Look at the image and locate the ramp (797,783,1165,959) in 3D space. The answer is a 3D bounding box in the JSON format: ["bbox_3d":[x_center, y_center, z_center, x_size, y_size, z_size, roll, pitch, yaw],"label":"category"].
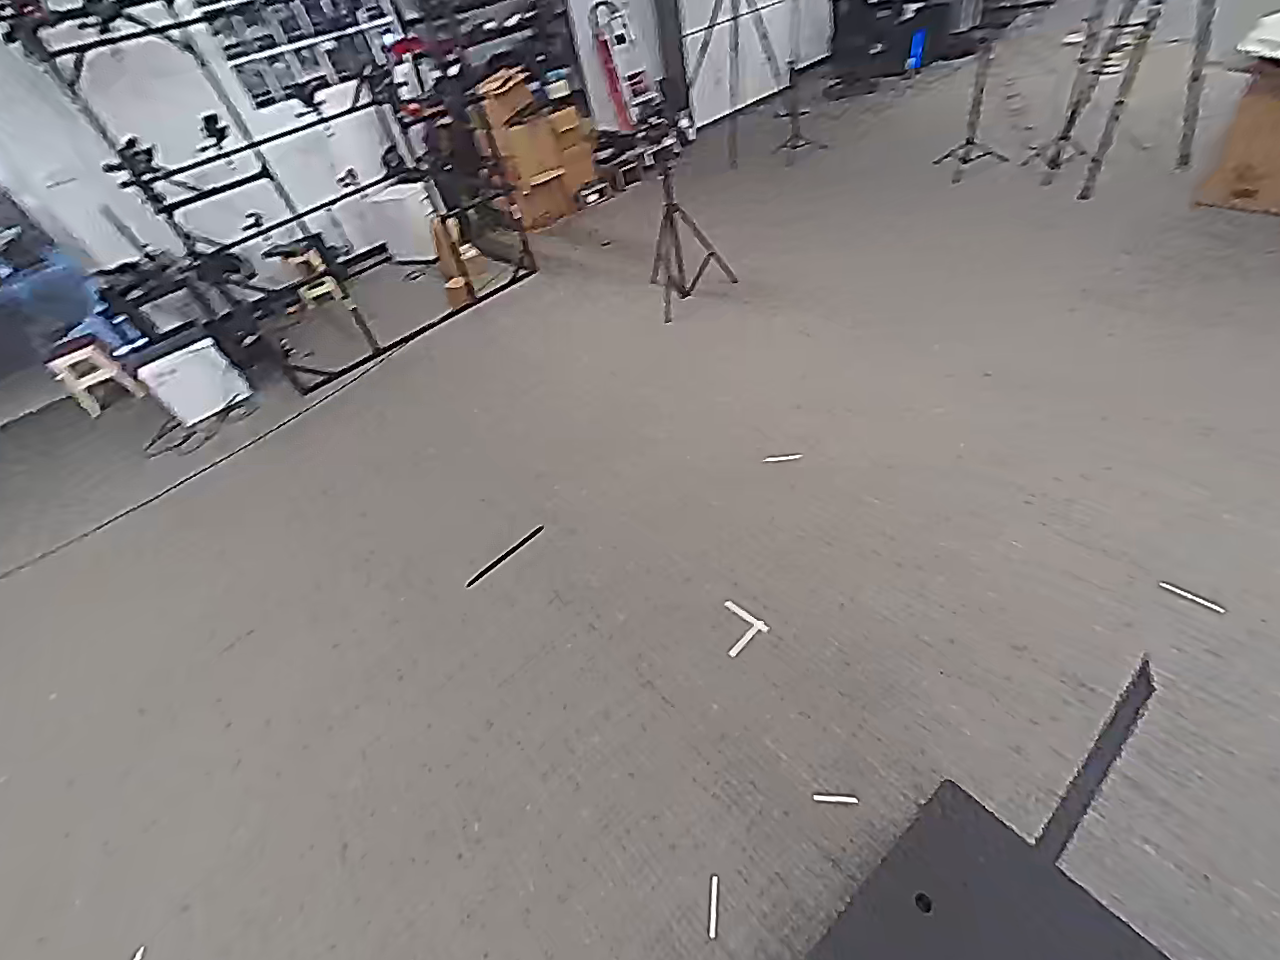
[{"bbox_3d":[0.528,1.076,0.997,0.991,0.206,0.509,-37,45,-22],"label":"ramp"}]
